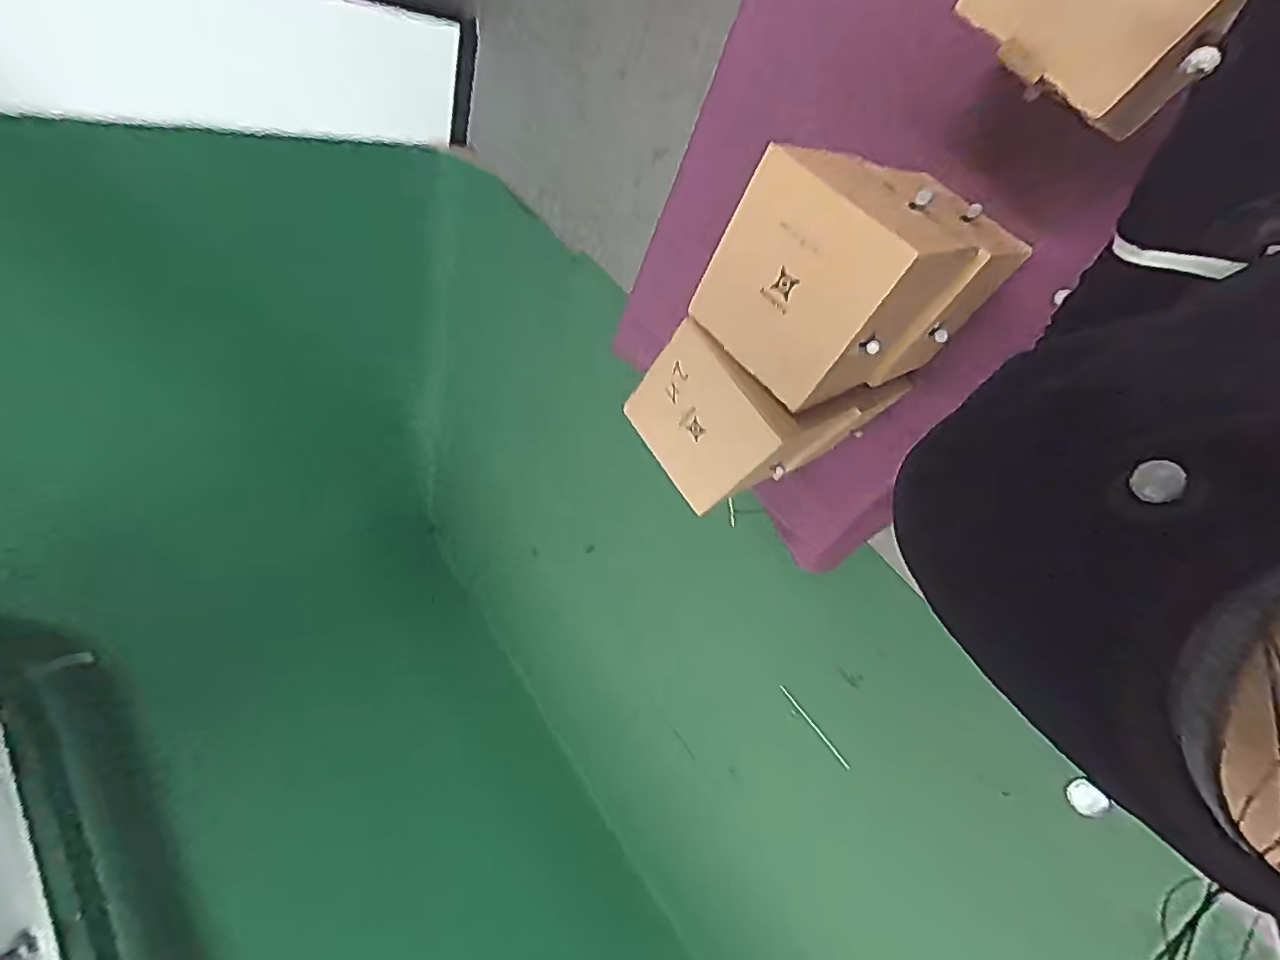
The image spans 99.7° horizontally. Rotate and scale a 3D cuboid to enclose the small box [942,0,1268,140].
[{"bbox_3d":[0.405,-0.417,0.449,0.168,0.176,0.179,54,138,13],"label":"small box"}]
